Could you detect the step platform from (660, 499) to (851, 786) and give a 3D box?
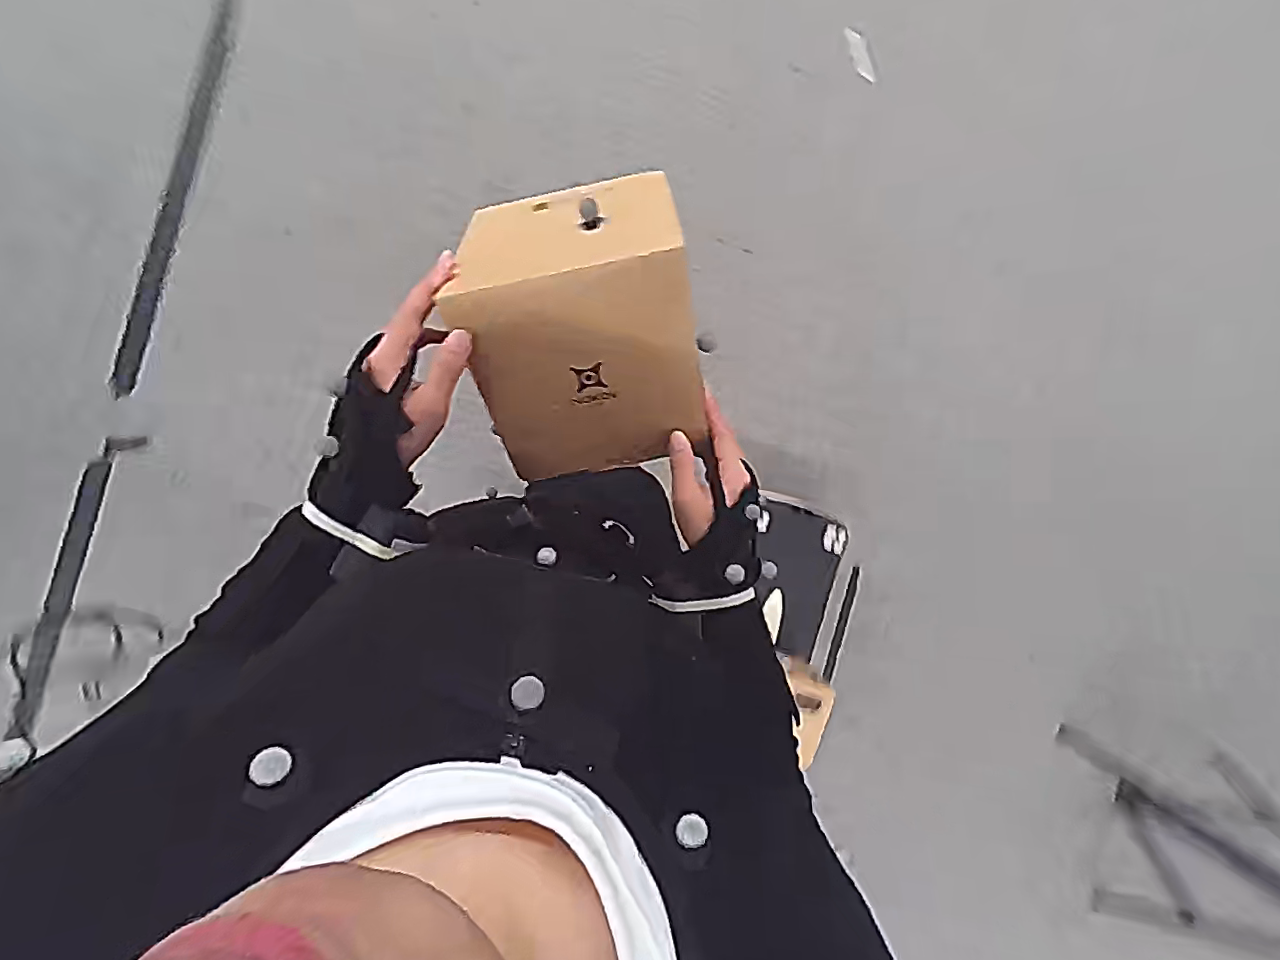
[{"bbox_3d":[0.286,0.401,1.366,0.286,0.204,0.684,17,90,-11],"label":"step platform"}]
